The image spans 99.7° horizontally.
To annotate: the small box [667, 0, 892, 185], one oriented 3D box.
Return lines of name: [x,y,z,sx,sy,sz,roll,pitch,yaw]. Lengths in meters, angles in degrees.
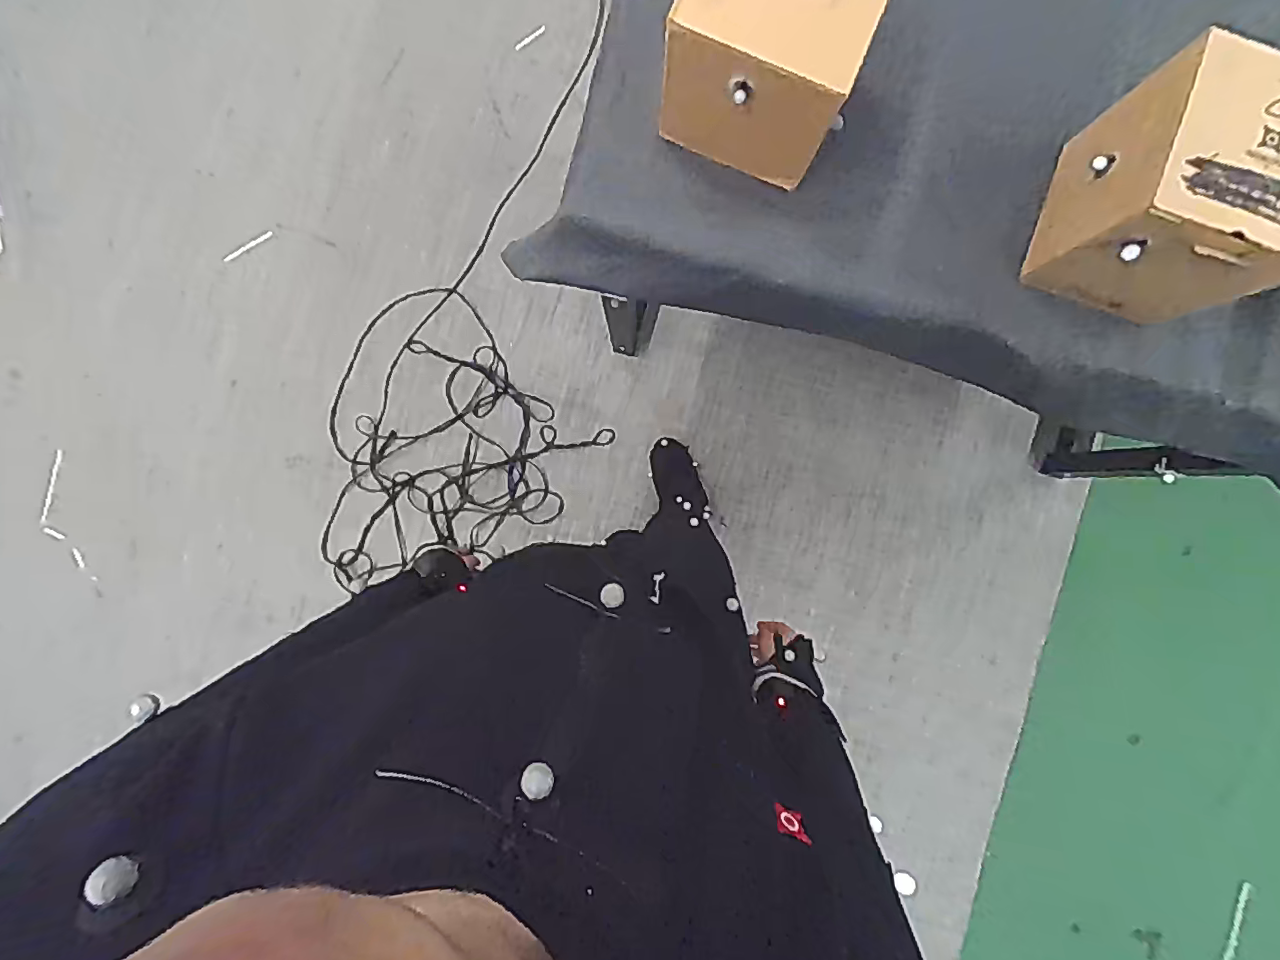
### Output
small box: [0.136,-0.444,0.556,0.179,0.176,0.168,23,91,-1]
